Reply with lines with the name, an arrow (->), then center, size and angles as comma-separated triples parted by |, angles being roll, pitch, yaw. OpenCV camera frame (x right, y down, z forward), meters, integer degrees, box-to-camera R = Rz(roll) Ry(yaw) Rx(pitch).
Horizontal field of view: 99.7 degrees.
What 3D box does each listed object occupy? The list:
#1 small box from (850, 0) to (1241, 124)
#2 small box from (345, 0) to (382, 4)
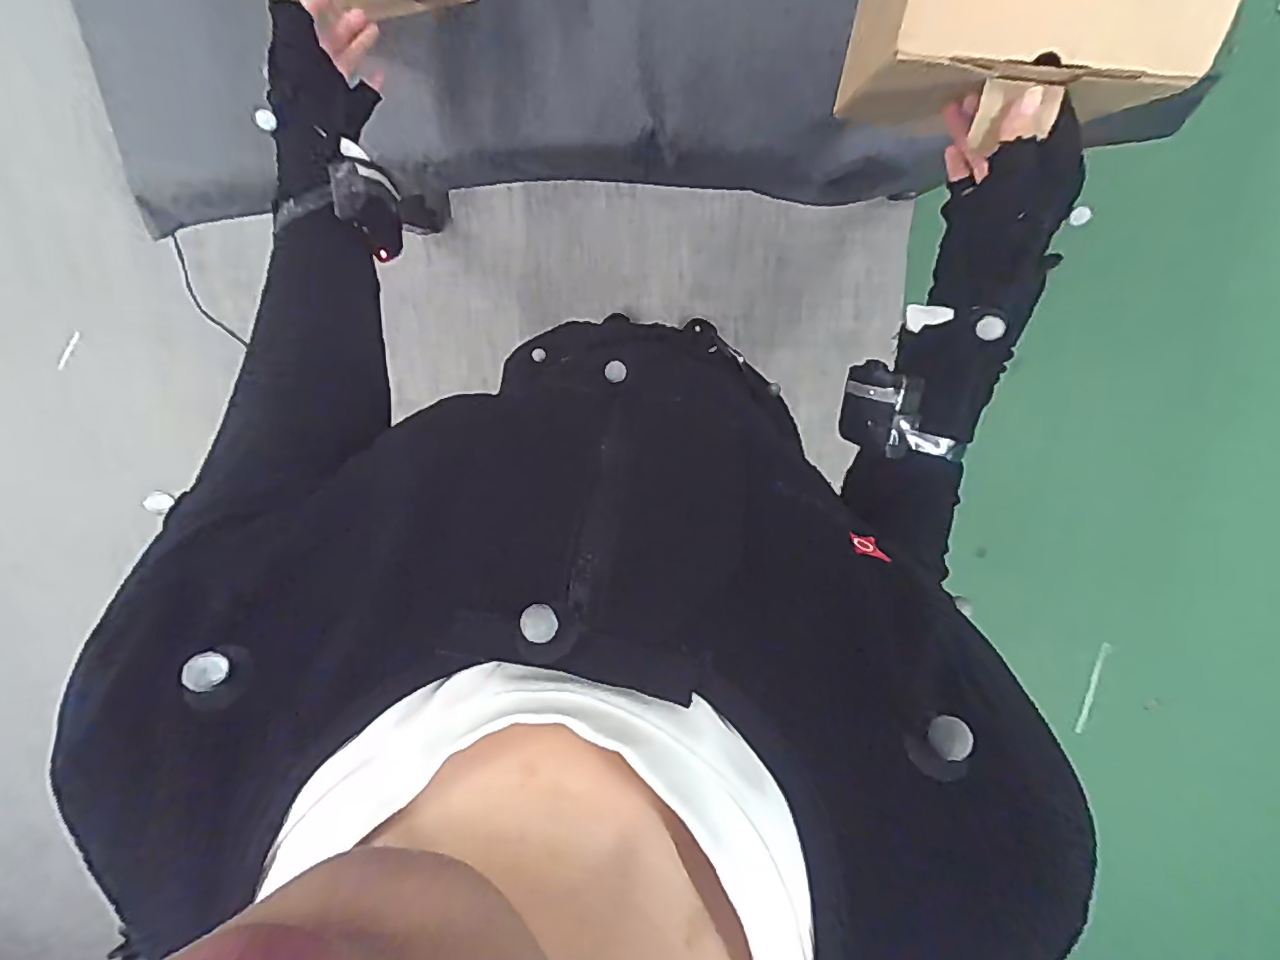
small box -> 0.244, -0.337, 0.332 | 0.168, 0.176, 0.179 | 9, 116, 3
small box -> -0.257, -0.562, 0.471 | 0.168, 0.176, 0.179 | -6, 107, 6
